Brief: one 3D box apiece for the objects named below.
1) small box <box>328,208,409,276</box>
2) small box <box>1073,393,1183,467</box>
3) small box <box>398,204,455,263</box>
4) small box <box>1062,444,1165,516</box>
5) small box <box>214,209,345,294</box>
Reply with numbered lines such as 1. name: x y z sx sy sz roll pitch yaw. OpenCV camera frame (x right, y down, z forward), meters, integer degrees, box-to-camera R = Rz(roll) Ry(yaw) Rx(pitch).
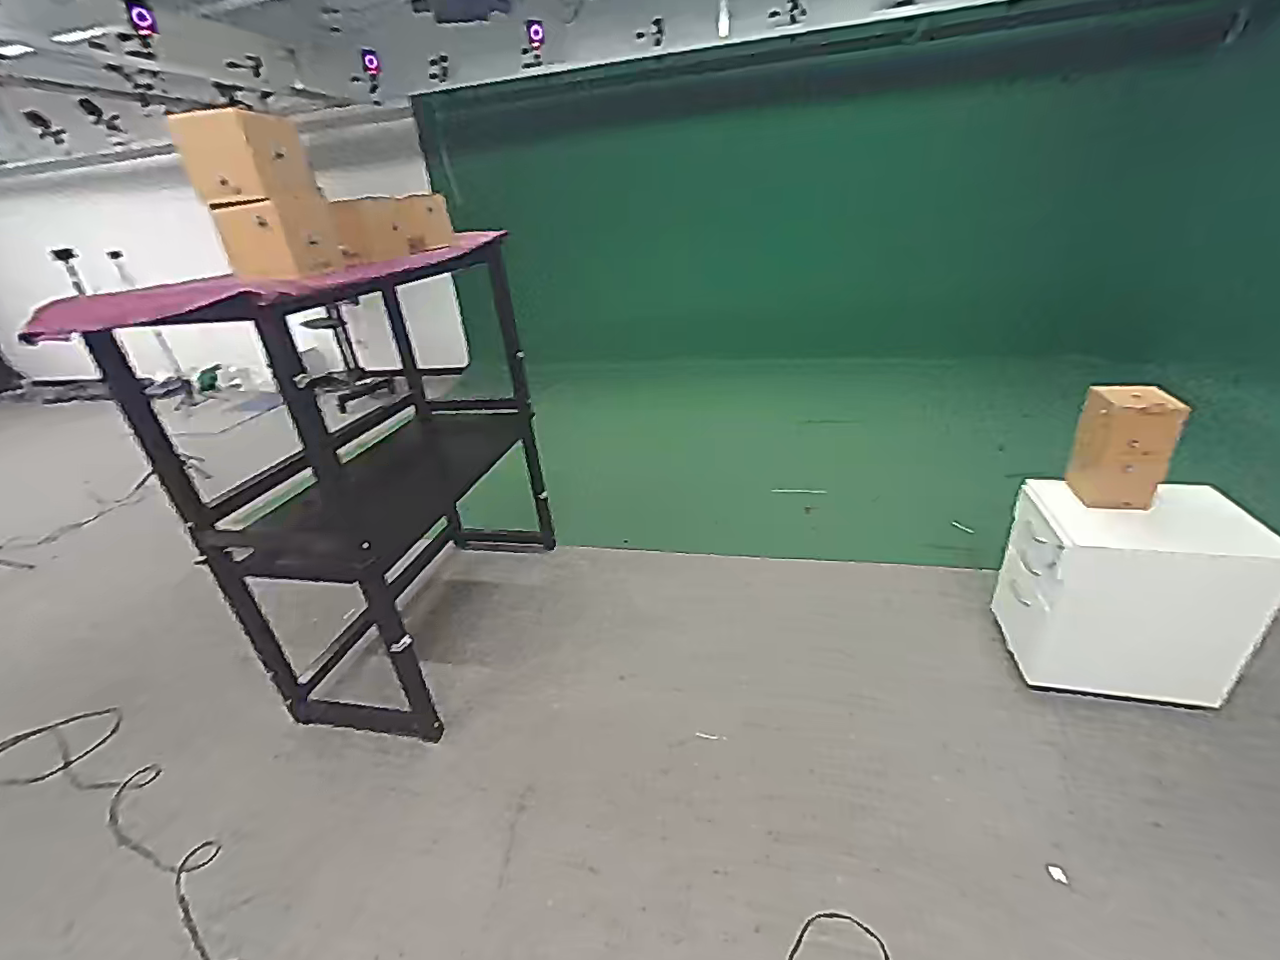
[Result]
1. small box: -0.815 -0.705 1.606 0.168 0.176 0.179 -1 28 12
2. small box: 1.440 -0.151 1.612 0.168 0.176 0.179 2 29 14
3. small box: -0.774 -0.855 1.889 0.168 0.176 0.179 -1 27 16
4. small box: 1.459 -0.005 1.682 0.168 0.176 0.179 2 28 15
5. small box: -0.853 -0.551 1.302 0.179 0.176 0.168 0 26 11
